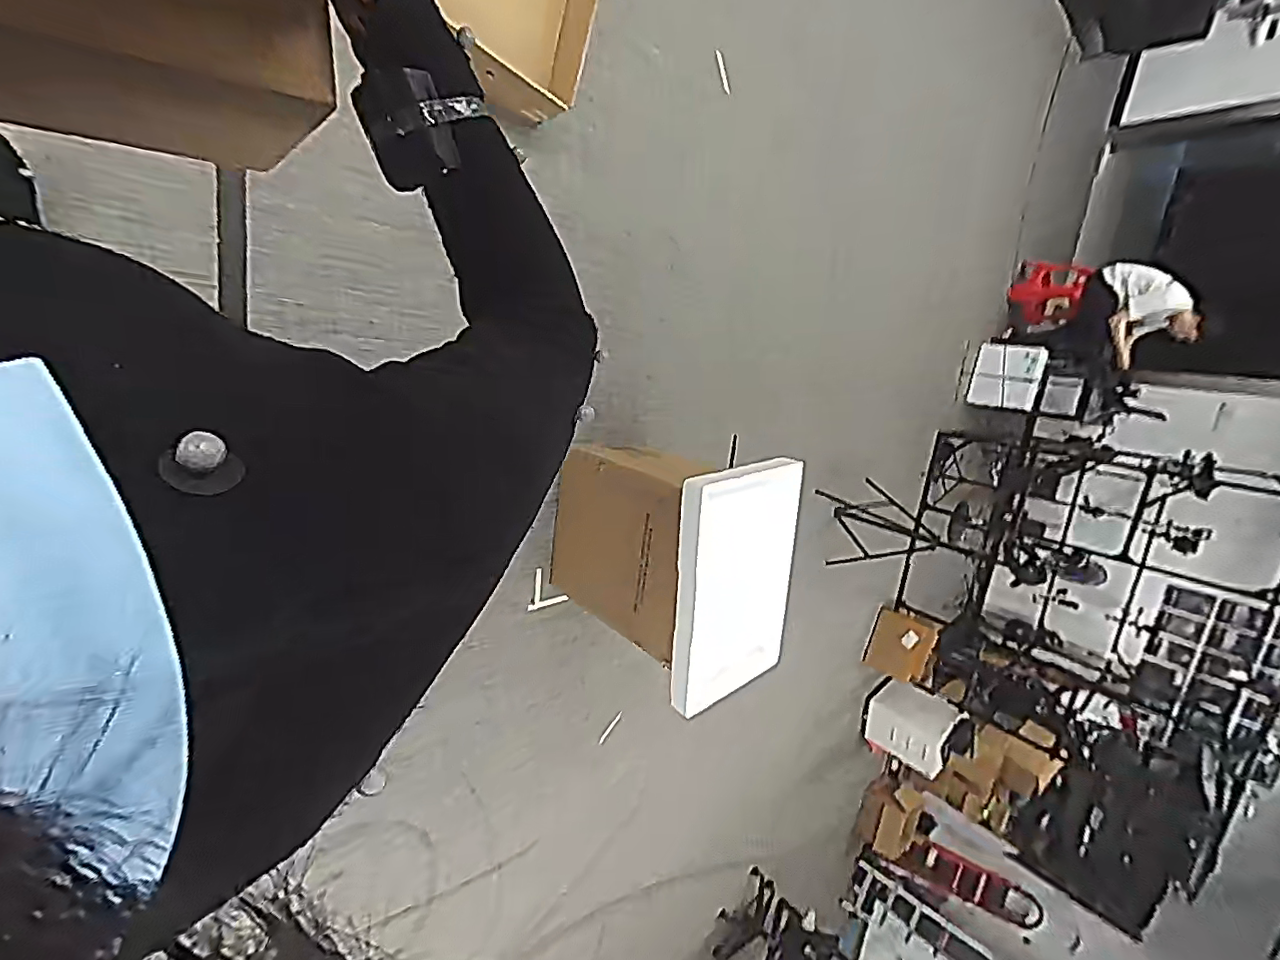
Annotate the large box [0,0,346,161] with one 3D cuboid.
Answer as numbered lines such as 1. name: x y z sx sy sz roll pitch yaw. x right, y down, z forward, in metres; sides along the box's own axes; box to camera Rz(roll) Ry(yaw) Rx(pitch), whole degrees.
1. large box: -0.441 -0.416 0.315 0.408 0.320 0.320 -11 111 -39
